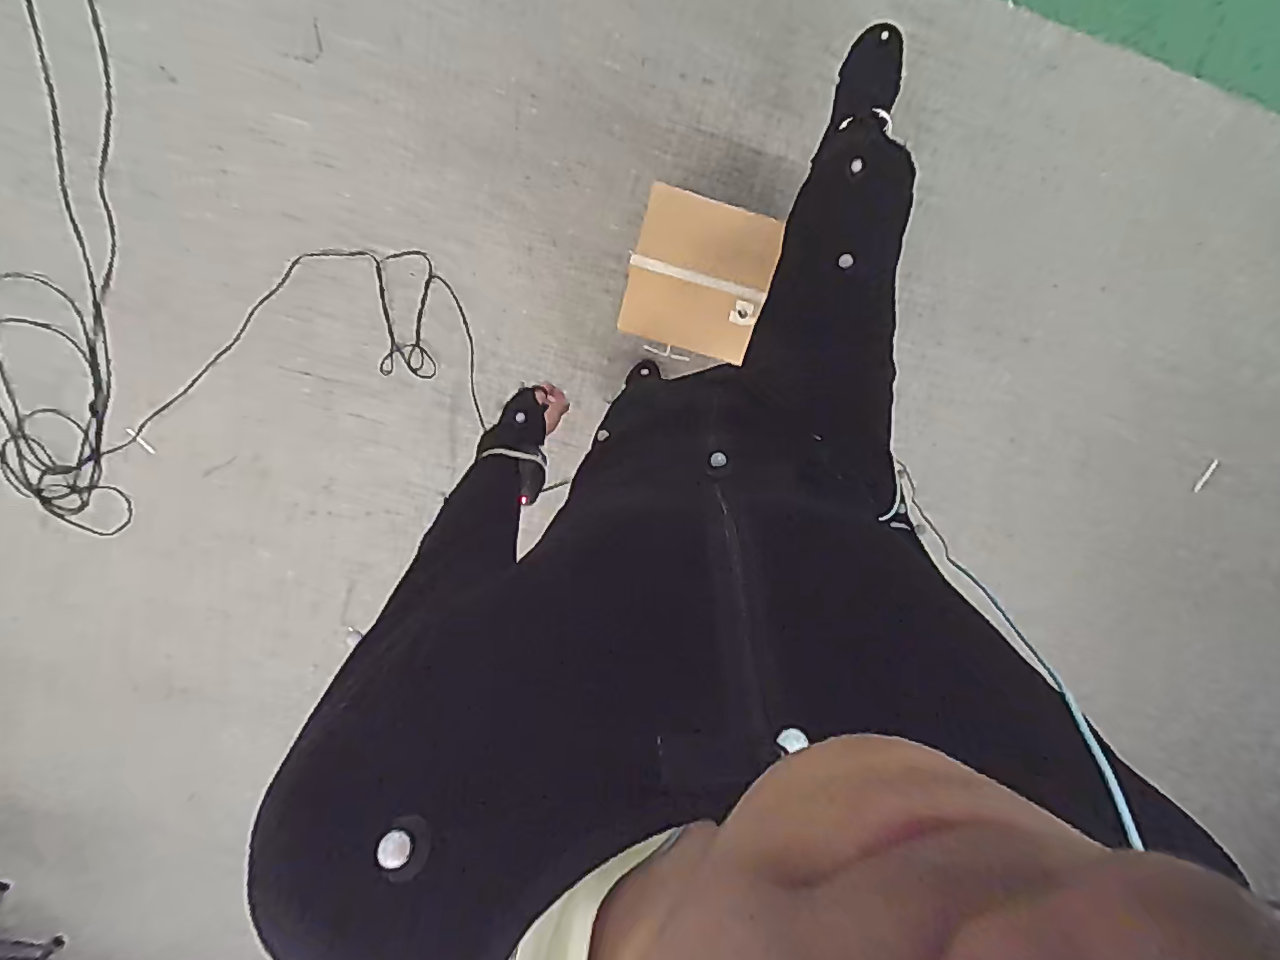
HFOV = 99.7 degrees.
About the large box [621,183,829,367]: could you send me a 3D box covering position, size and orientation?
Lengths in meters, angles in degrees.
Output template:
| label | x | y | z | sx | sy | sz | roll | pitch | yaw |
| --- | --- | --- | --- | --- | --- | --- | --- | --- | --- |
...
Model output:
| label | x | y | z | sx | sy | sz | roll | pitch | yaw |
| --- | --- | --- | --- | --- | --- | --- | --- | --- | --- |
| large box | 0.179 | -0.492 | 1.343 | 0.408 | 0.320 | 0.320 | 13 | 108 | -6 |
